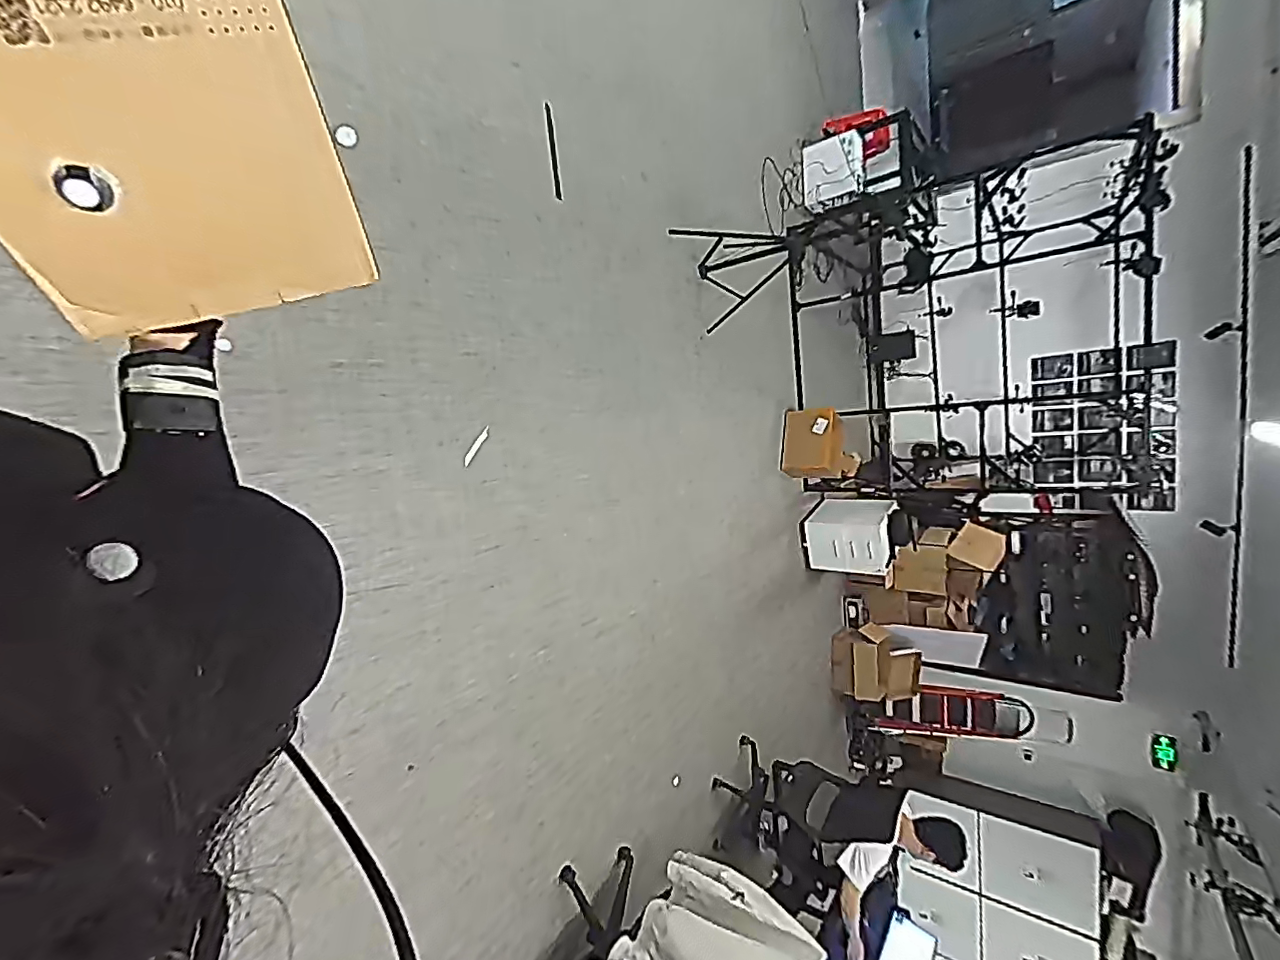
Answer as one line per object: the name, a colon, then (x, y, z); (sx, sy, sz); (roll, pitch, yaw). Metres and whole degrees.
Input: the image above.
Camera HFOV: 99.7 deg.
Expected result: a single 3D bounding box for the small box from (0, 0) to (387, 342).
small box: (-0.275, -0.213, 0.321); (0.168, 0.179, 0.176); (-20, 139, -21)
